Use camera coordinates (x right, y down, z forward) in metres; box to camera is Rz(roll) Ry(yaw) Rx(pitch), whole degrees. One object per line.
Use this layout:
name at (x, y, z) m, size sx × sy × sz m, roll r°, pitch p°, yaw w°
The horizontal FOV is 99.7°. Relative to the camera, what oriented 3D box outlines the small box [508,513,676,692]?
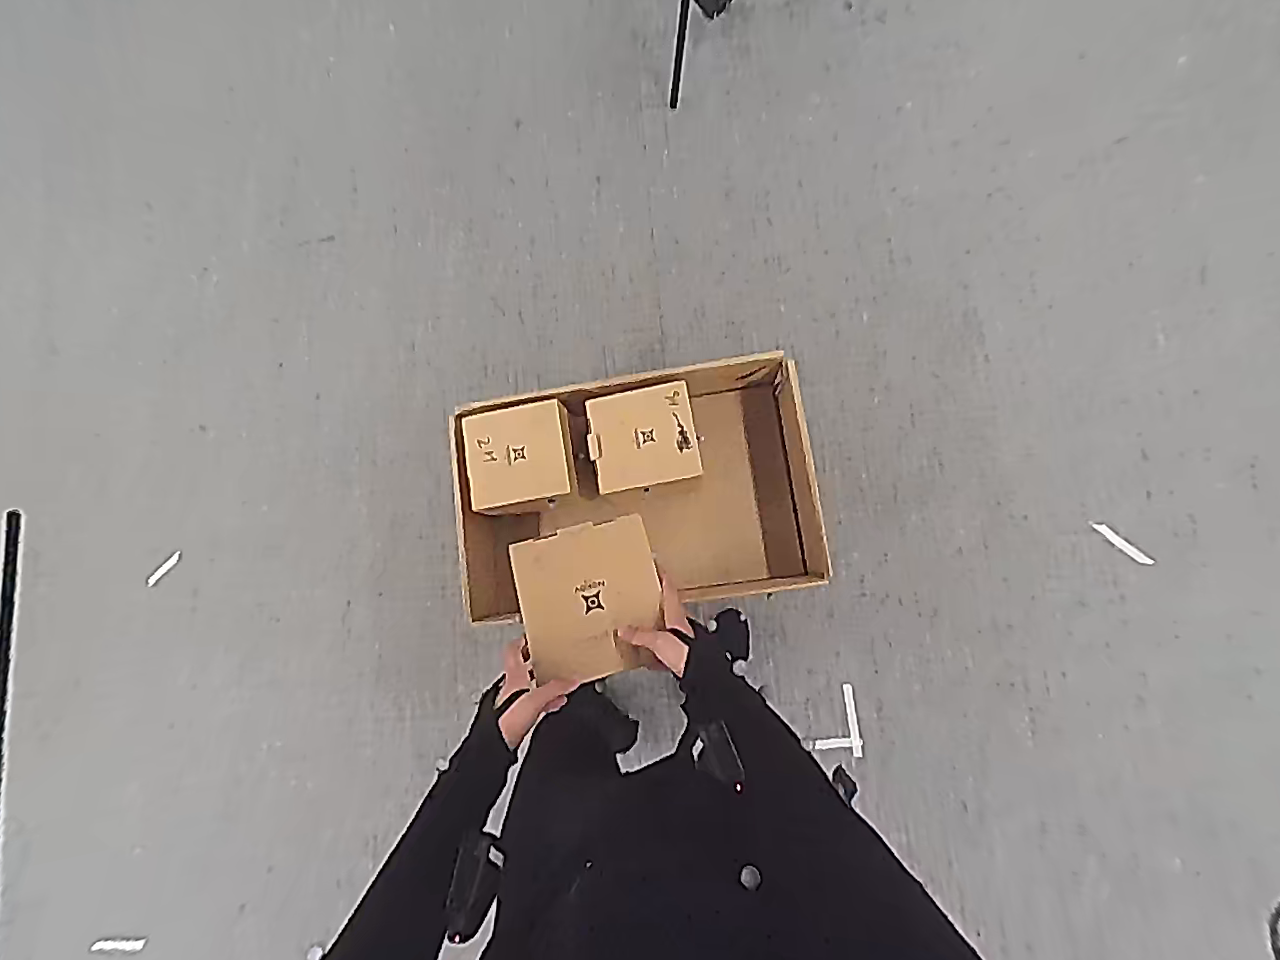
small box at (-0.062, 0.163, 0.703) m, size 0.168 × 0.176 × 0.179 m, roll -15°, pitch 72°, yaw -7°
